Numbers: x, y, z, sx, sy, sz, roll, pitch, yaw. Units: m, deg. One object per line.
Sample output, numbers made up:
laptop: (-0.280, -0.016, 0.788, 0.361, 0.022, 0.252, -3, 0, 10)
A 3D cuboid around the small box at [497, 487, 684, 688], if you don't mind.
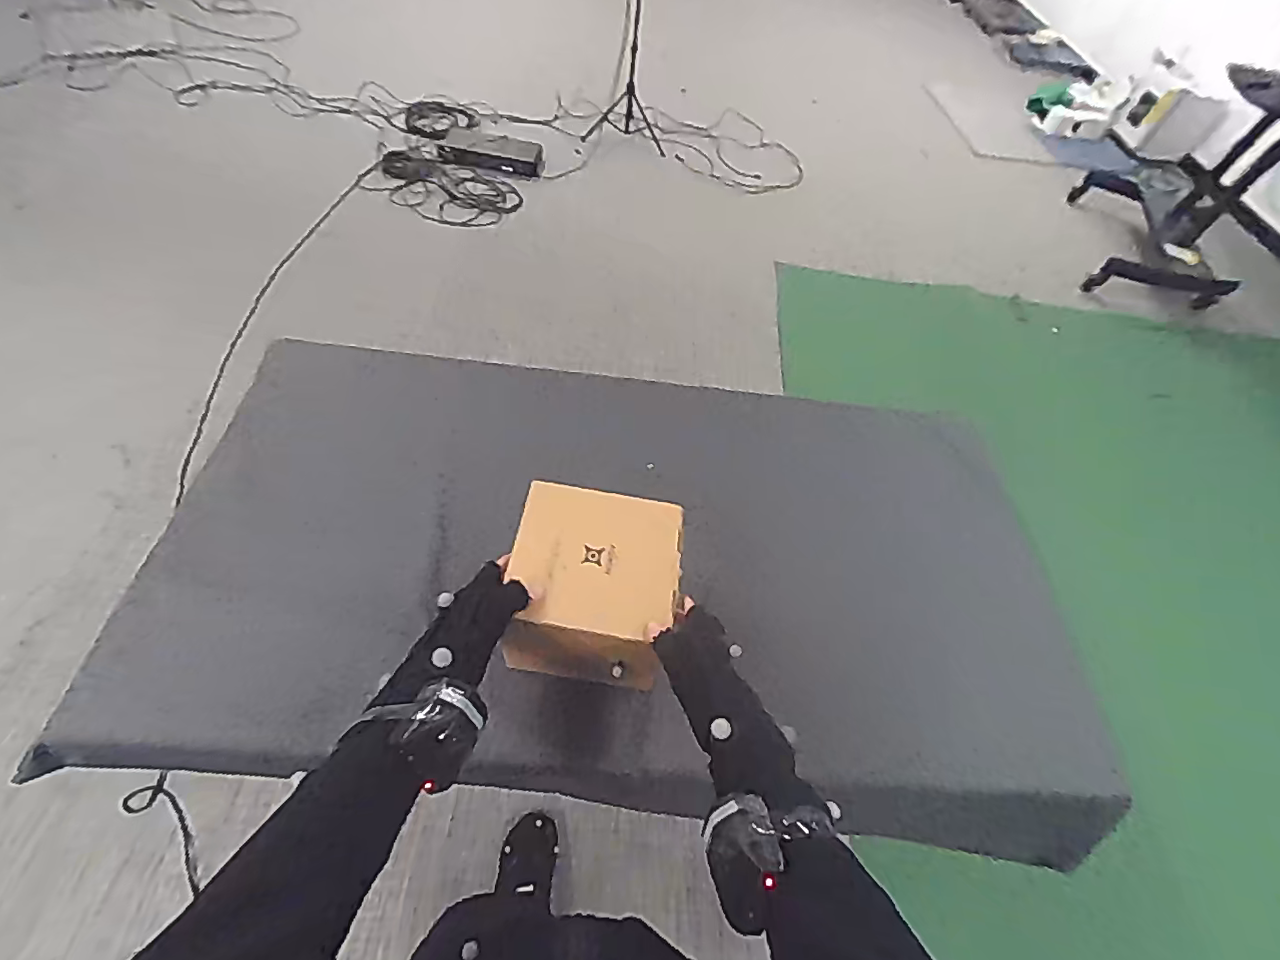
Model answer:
small box: (-0.053, 0.133, 0.636, 0.179, 0.176, 0.168, 9, 53, -1)
